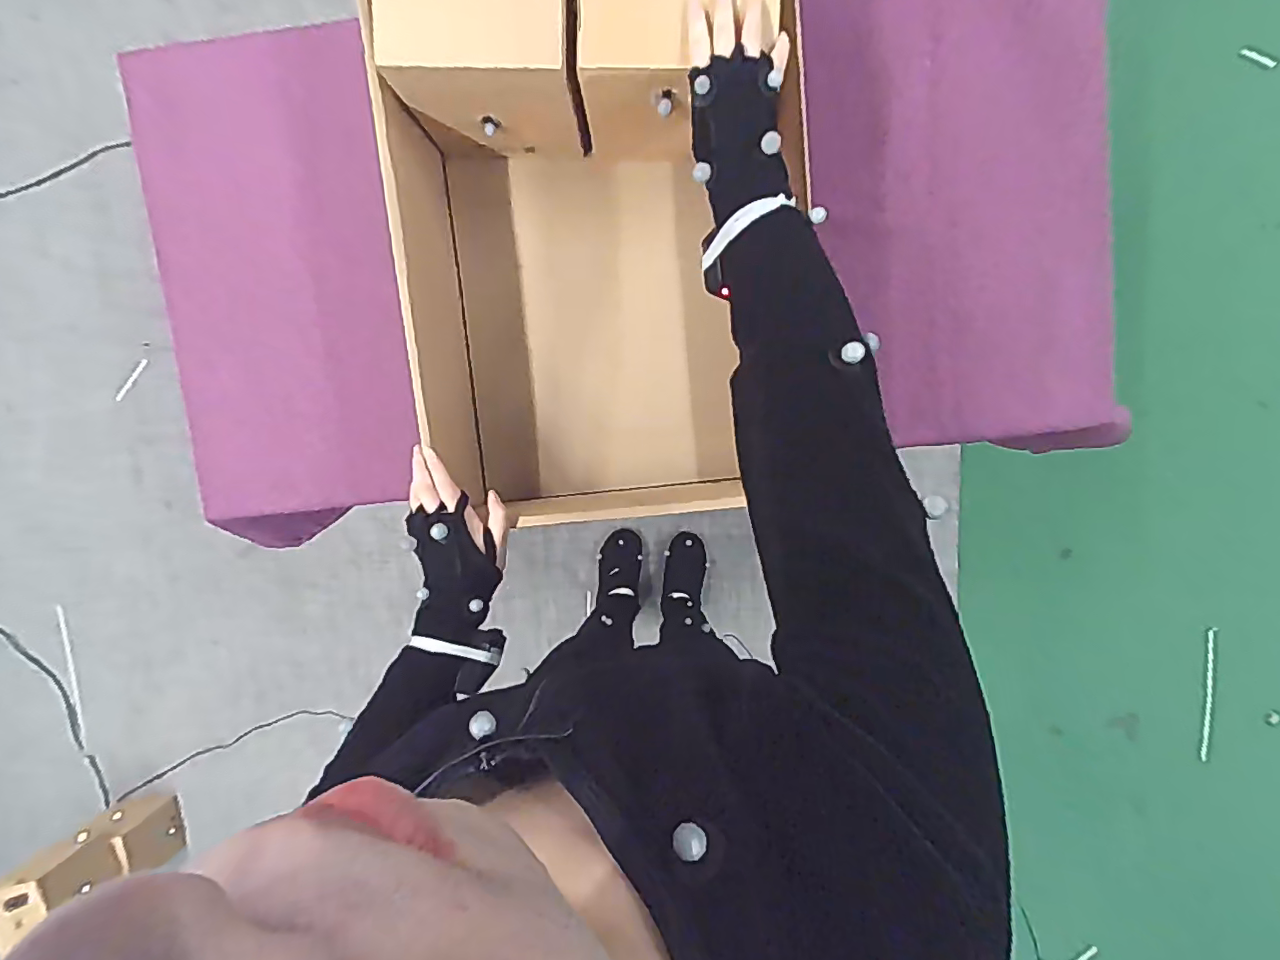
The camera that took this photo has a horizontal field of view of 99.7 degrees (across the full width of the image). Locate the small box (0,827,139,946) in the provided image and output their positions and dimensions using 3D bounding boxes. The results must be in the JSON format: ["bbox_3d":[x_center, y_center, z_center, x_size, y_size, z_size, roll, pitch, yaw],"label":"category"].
[{"bbox_3d":[-1.469,1.036,1.396,0.168,0.176,0.179,-16,96,5],"label":"small box"}]
